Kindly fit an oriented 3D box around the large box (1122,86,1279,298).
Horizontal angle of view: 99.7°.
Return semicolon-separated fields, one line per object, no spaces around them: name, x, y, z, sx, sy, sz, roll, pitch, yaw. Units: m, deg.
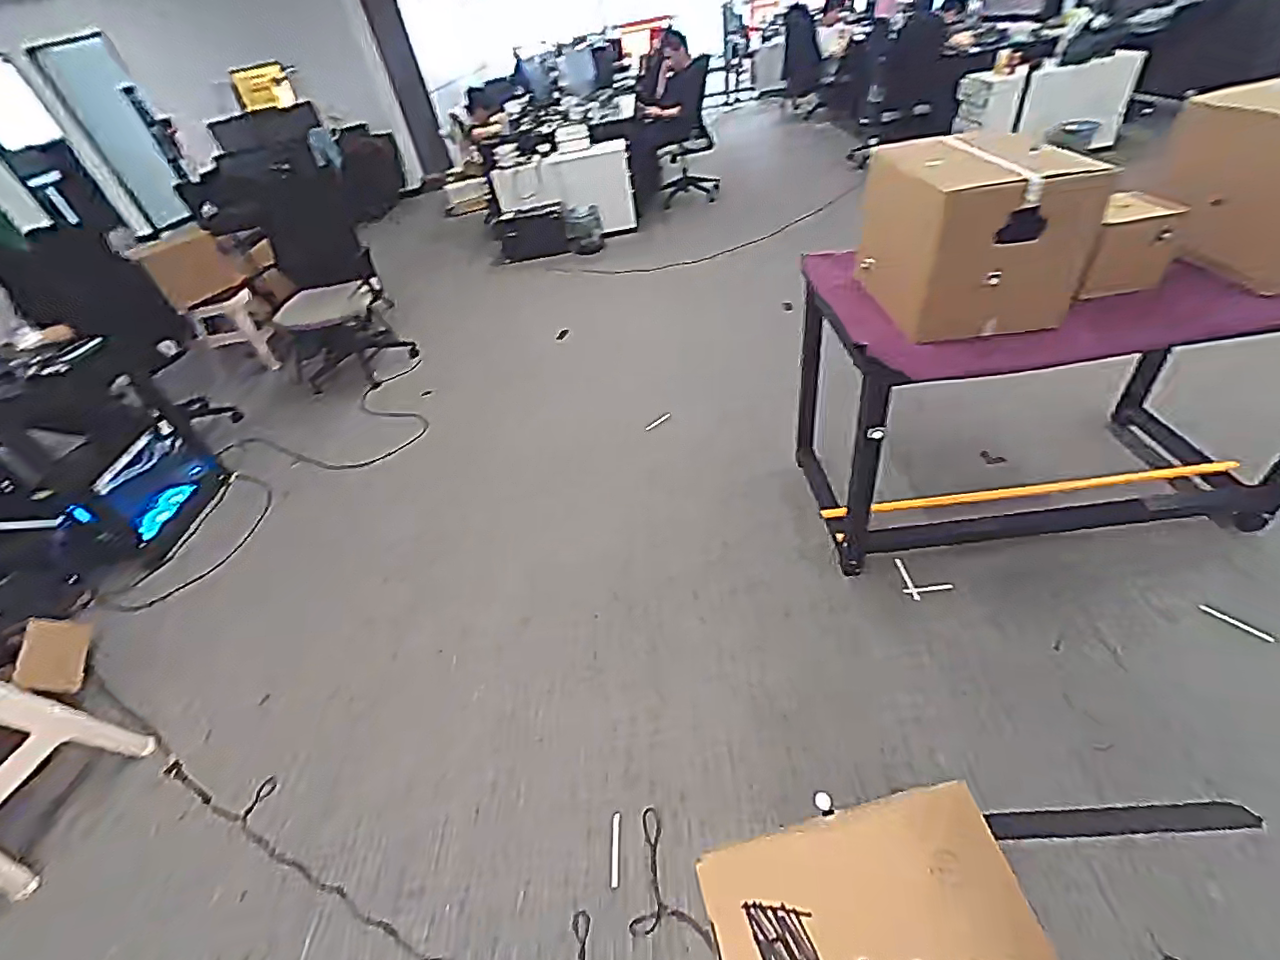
large box;1.402;-0.636;1.174;0.320;0.320;0.408;-8;39;4

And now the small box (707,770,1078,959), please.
small box;0.155;0.307;0.352;0.179;0.176;0.168;-16;56;1
